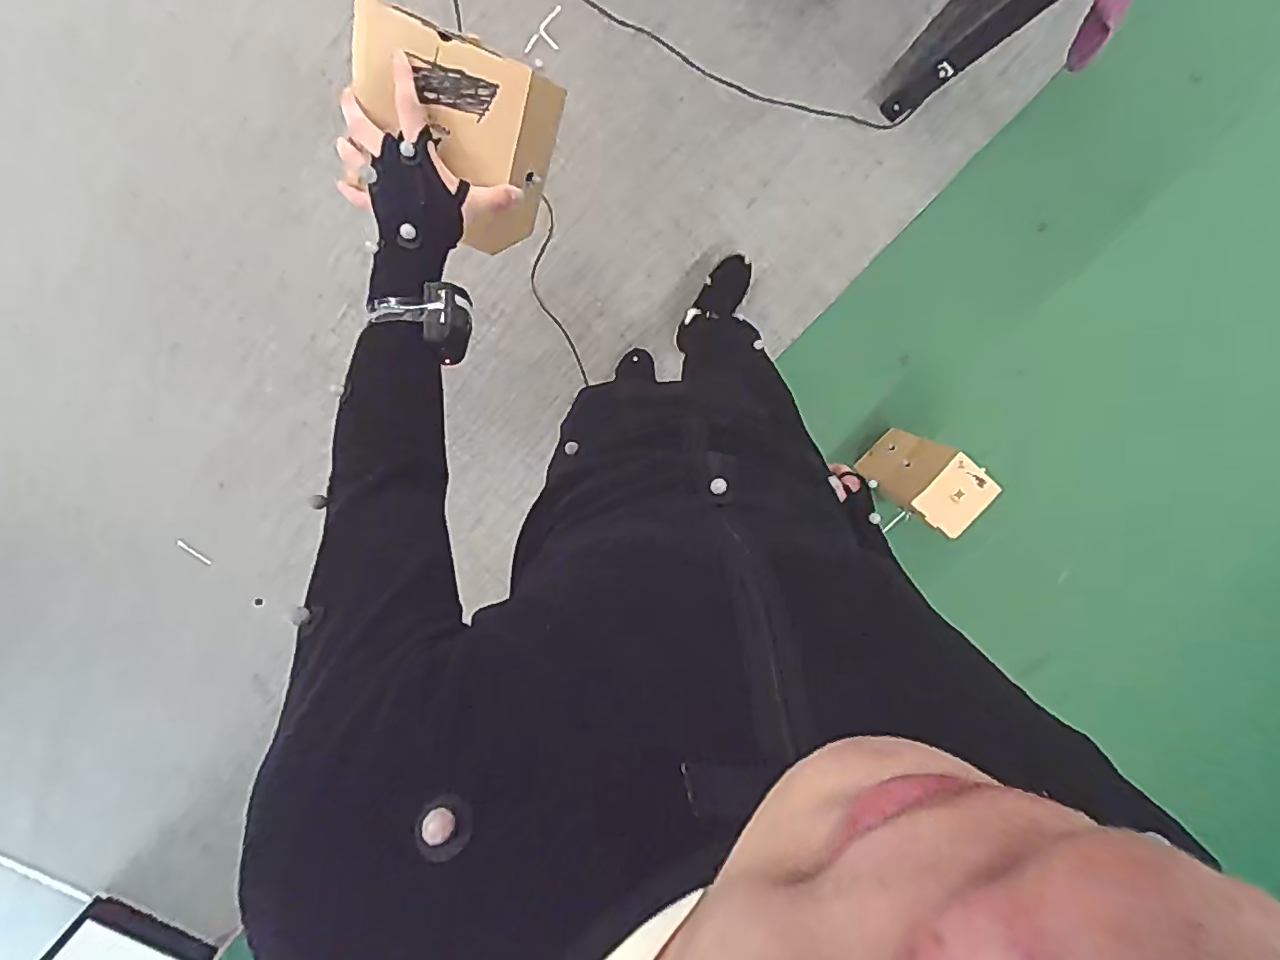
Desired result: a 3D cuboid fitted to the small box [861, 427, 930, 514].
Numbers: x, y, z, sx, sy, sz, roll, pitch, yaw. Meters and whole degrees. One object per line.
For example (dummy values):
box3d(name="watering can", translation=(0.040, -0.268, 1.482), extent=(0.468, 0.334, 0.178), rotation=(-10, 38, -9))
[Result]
box3d(name="small box", translation=(0.784, -0.036, 1.571), extent=(0.179, 0.176, 0.168), rotation=(40, 101, -13))

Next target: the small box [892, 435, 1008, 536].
box3d(name="small box", translation=(0.794, 0.009, 1.413), extent=(0.168, 0.176, 0.179), rotation=(37, 102, -13))

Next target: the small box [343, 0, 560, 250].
box3d(name="small box", translation=(-0.198, -0.386, 0.599), extent=(0.168, 0.176, 0.179), rotation=(21, 123, -6))
